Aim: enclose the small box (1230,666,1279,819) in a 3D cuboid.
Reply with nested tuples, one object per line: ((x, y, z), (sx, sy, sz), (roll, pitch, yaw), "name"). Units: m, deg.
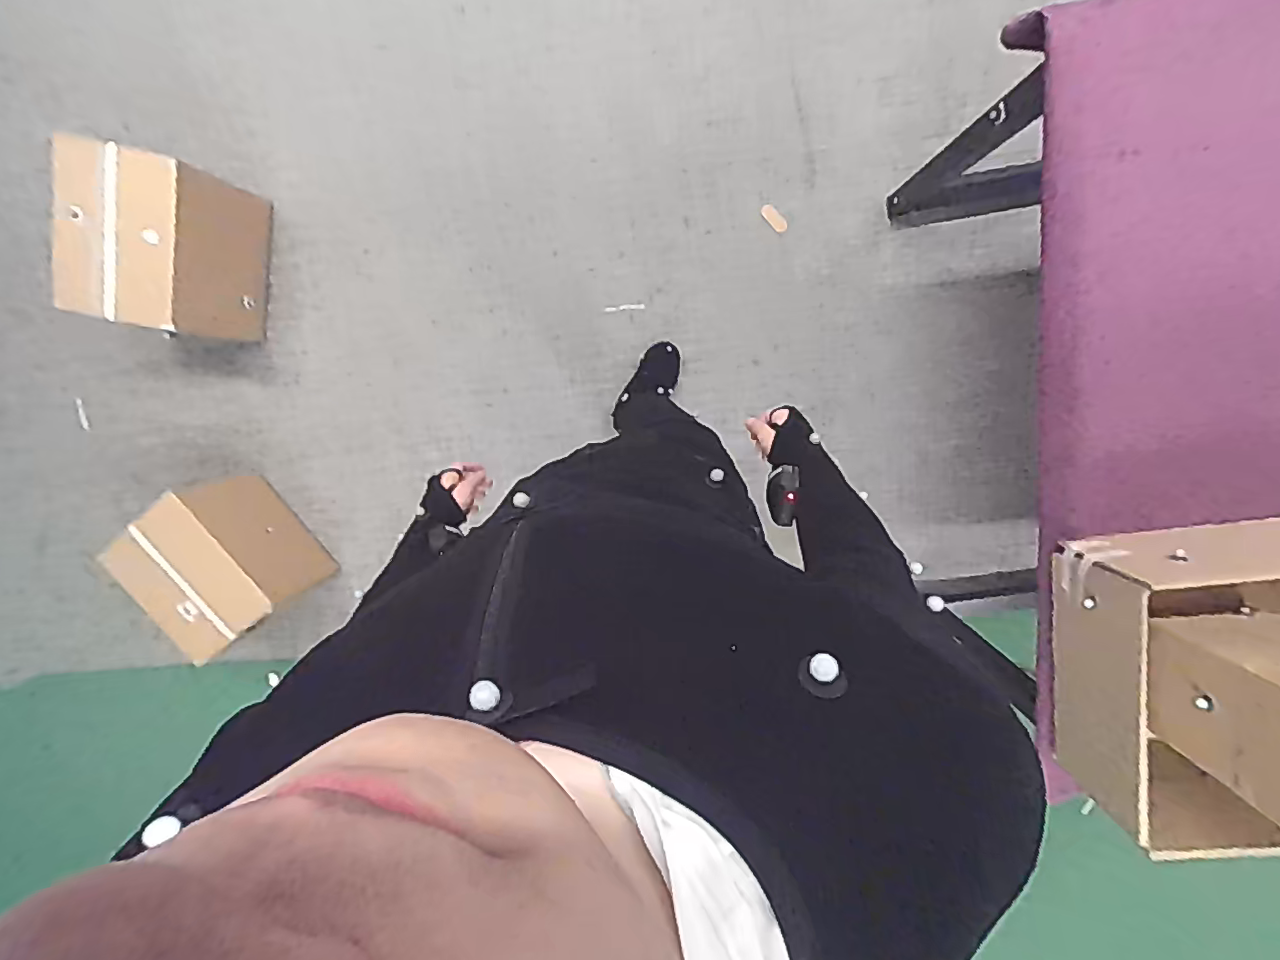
((0.821, 0.318, 0.596), (0.168, 0.176, 0.179), (-4, 99, 5), "small box")

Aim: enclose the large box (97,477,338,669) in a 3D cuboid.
((-1.214, 0.255, 1.596), (0.320, 0.320, 0.408), (-38, 97, 9), "large box")
